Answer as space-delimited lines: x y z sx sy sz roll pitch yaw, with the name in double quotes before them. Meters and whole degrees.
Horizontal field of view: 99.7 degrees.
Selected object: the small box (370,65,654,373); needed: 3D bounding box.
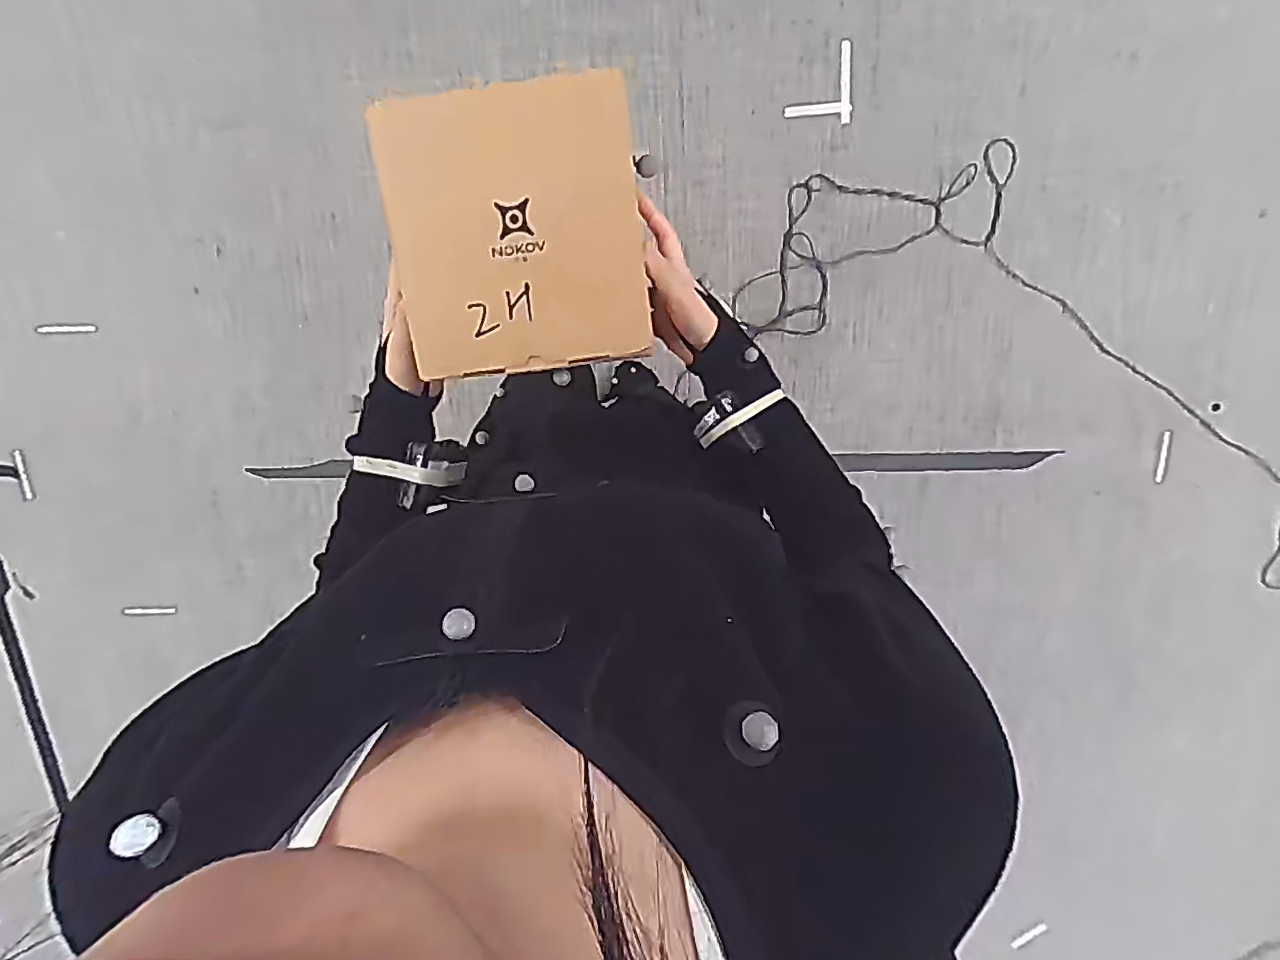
"small box" -0.081 -0.183 0.434 0.168 0.176 0.179 -7 102 3
